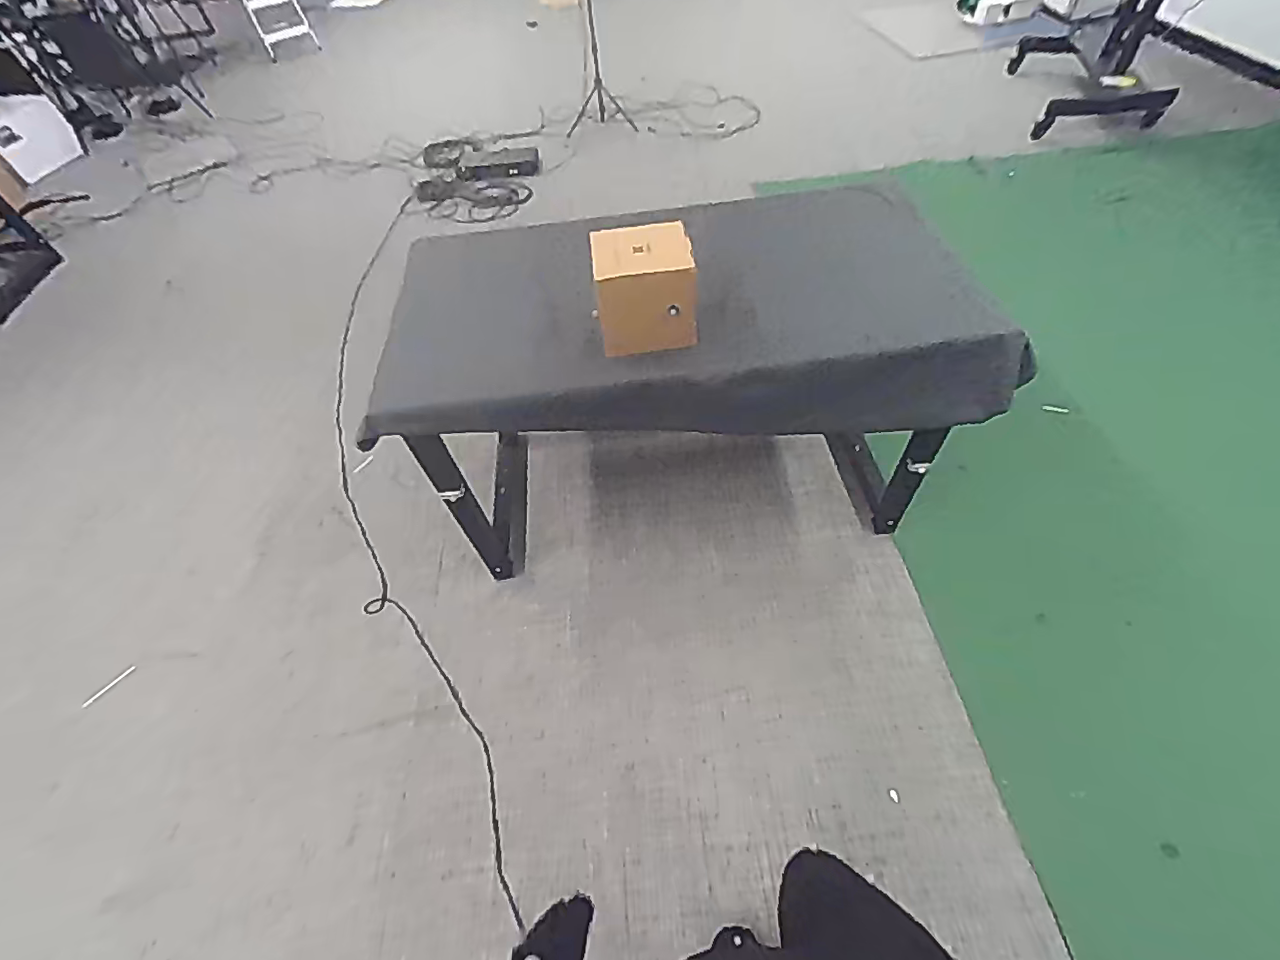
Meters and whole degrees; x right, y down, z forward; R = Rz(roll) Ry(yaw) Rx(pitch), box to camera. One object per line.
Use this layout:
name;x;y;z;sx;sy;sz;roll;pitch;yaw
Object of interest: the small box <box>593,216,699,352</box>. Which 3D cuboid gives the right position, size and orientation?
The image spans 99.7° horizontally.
small box;0.013;-0.364;1.017;0.179;0.176;0.168;-8;52;1
